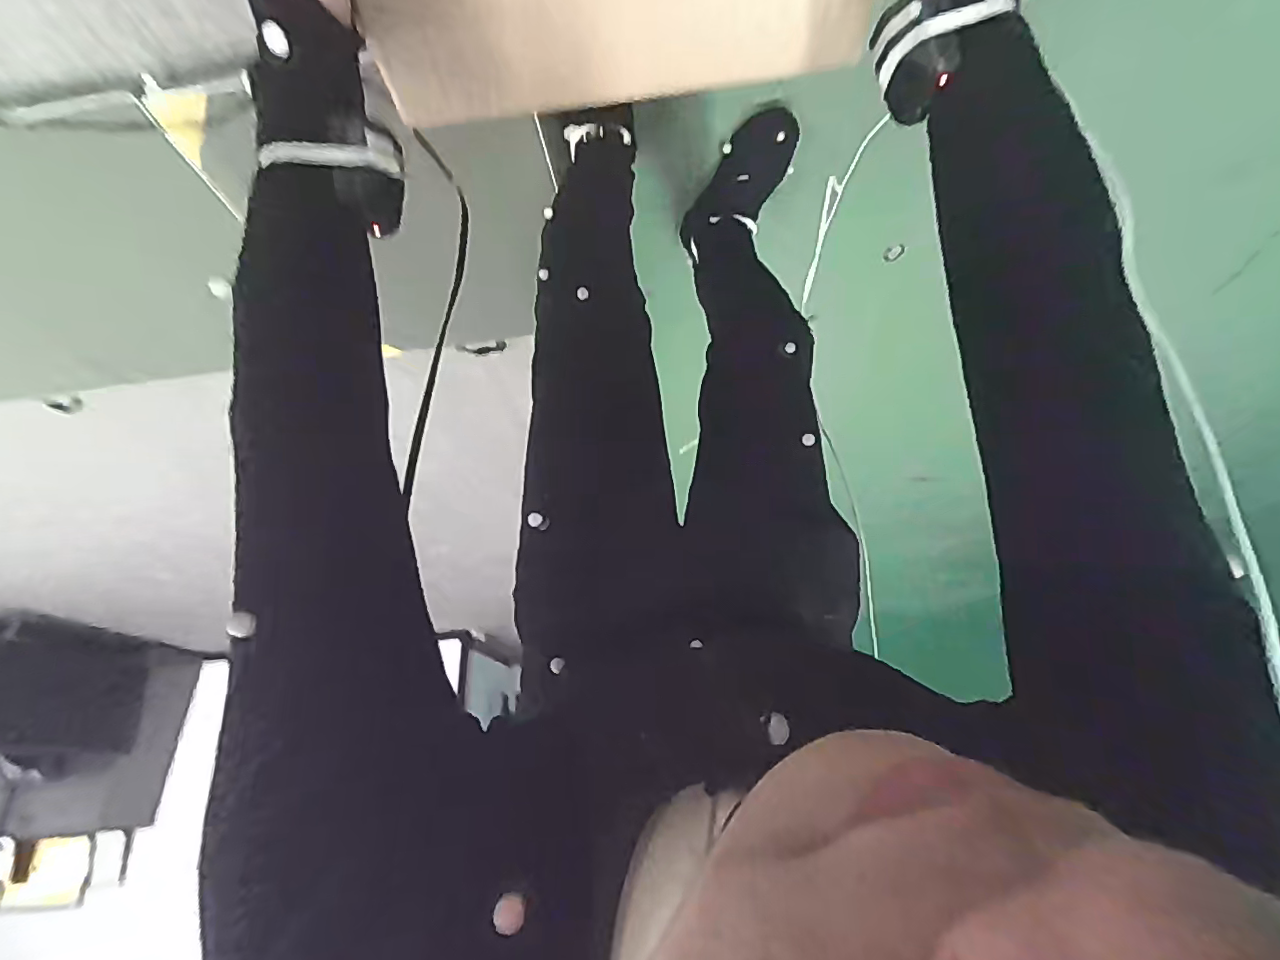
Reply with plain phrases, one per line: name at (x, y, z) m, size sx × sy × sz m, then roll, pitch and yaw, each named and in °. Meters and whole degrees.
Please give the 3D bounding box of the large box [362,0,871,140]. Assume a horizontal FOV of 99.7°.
large box at (-0.036, -0.538, 0.428) m, size 0.408 × 0.320 × 0.320 m, roll -9°, pitch 151°, yaw 0°
